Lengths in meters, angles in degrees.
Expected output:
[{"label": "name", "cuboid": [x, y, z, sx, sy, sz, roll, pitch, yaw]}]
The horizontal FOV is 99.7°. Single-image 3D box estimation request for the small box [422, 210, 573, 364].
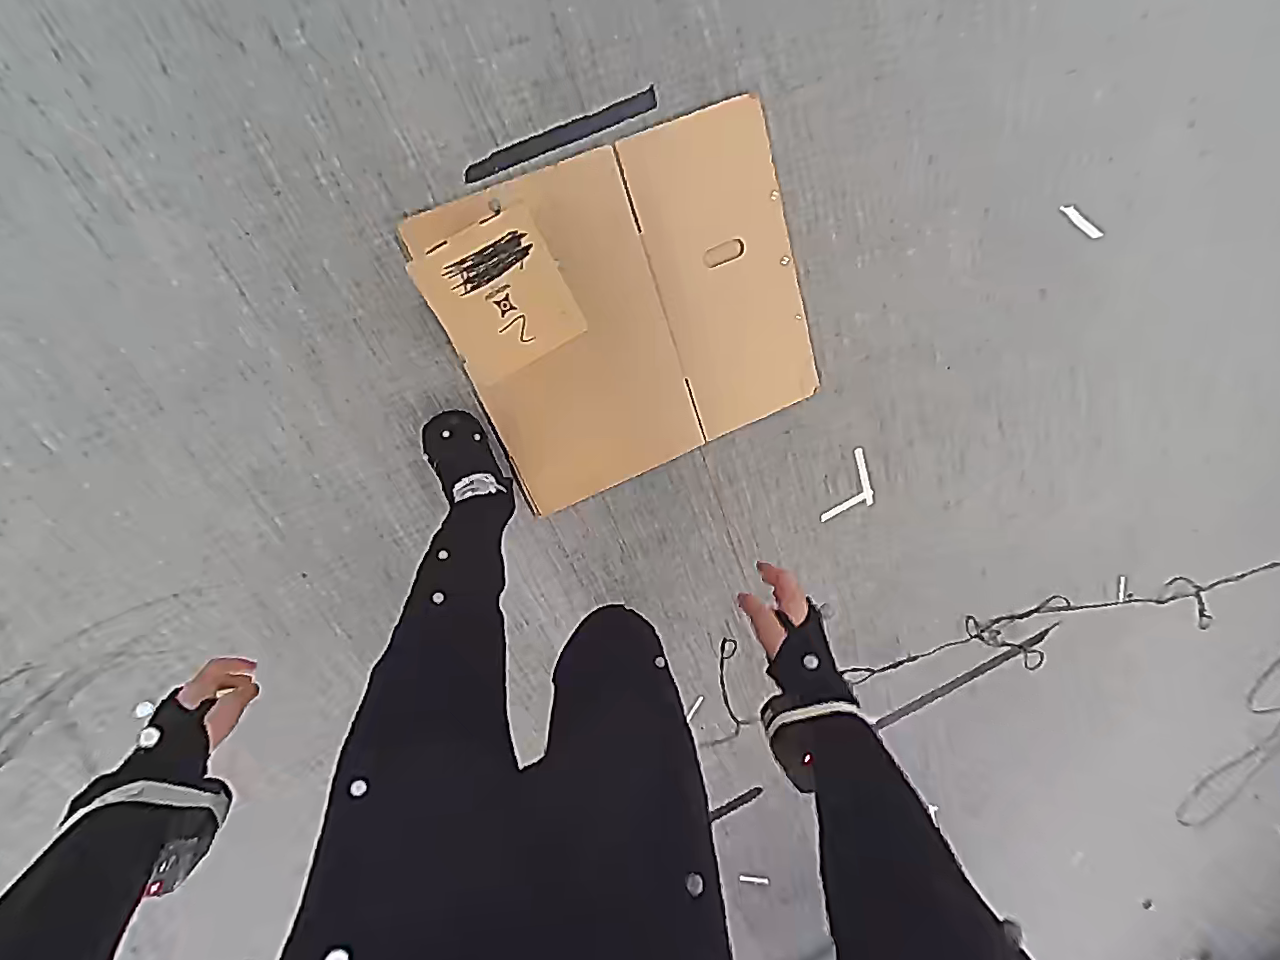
[{"label": "small box", "cuboid": [-0.238, -0.320, 0.906, 0.168, 0.176, 0.179, -33, 116, -2]}]
